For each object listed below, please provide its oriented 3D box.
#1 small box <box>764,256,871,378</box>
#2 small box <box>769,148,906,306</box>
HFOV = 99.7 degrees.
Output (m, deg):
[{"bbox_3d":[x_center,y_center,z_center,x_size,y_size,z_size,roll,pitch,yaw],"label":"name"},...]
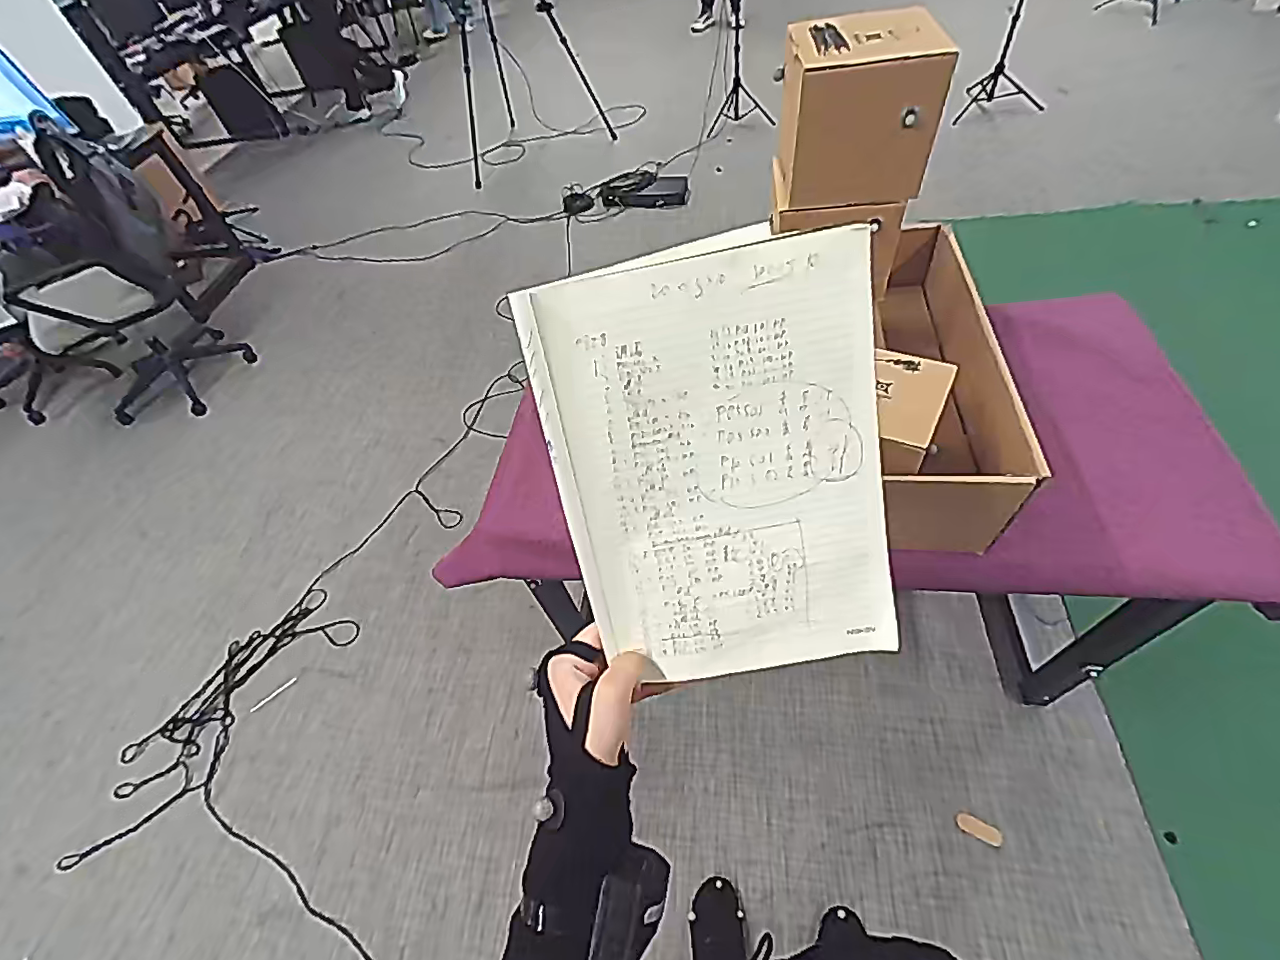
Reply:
[{"bbox_3d":[0.316,-0.302,0.992,0.168,0.176,0.179,1,55,11],"label":"small box"},{"bbox_3d":[0.299,-0.395,0.860,0.179,0.176,0.168,-1,54,9],"label":"small box"}]
